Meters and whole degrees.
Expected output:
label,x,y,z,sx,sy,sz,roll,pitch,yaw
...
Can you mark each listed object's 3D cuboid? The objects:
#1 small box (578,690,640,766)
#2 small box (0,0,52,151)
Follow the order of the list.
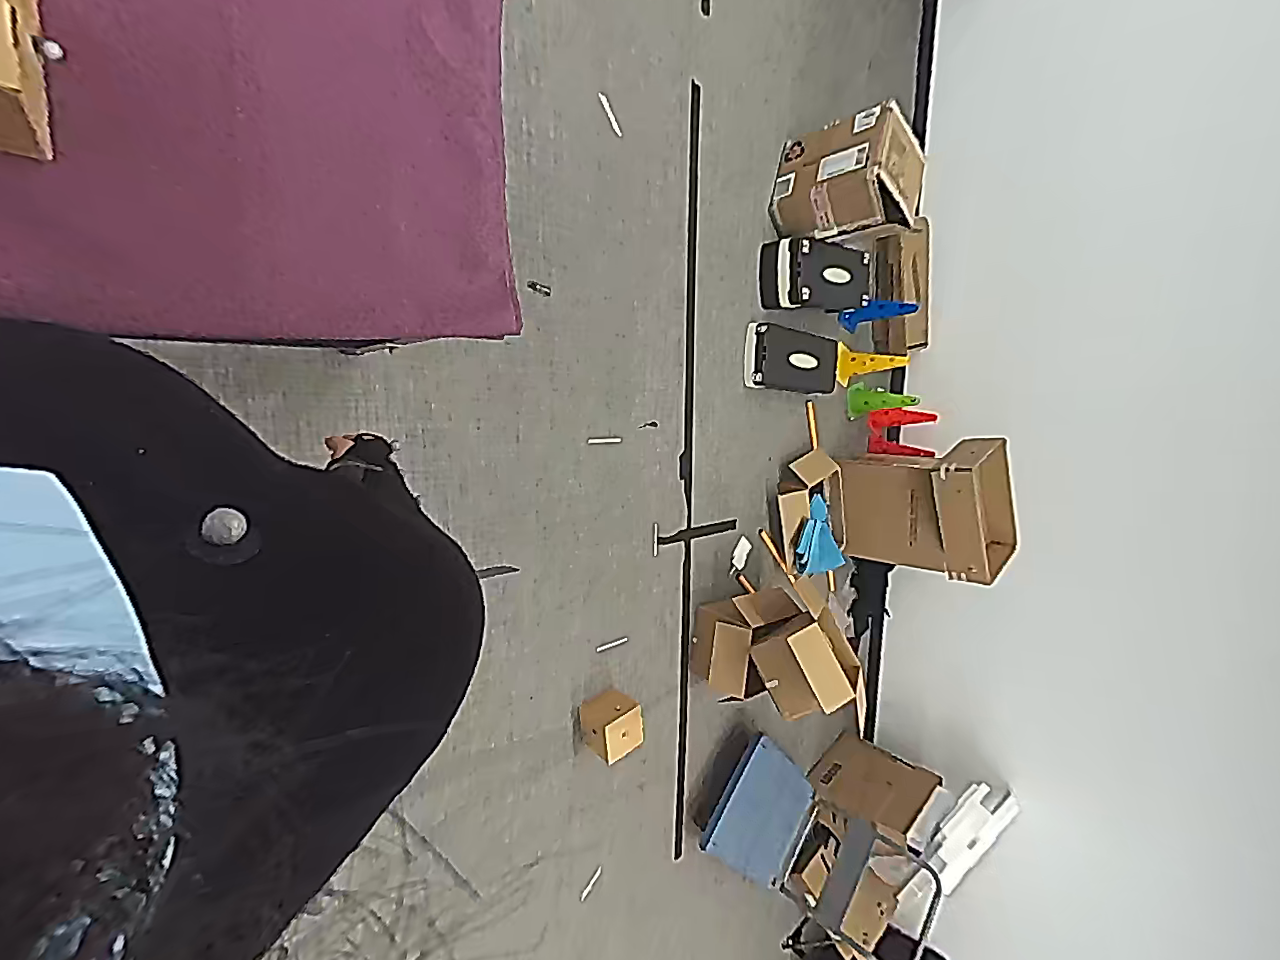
label,x,y,z,sx,sy,sz,roll,pitch,yaw
small box,-0.123,0.928,2.039,0.179,0.176,0.168,-16,108,-41
small box,-0.570,-0.372,0.392,0.179,0.176,0.168,-4,100,-43
